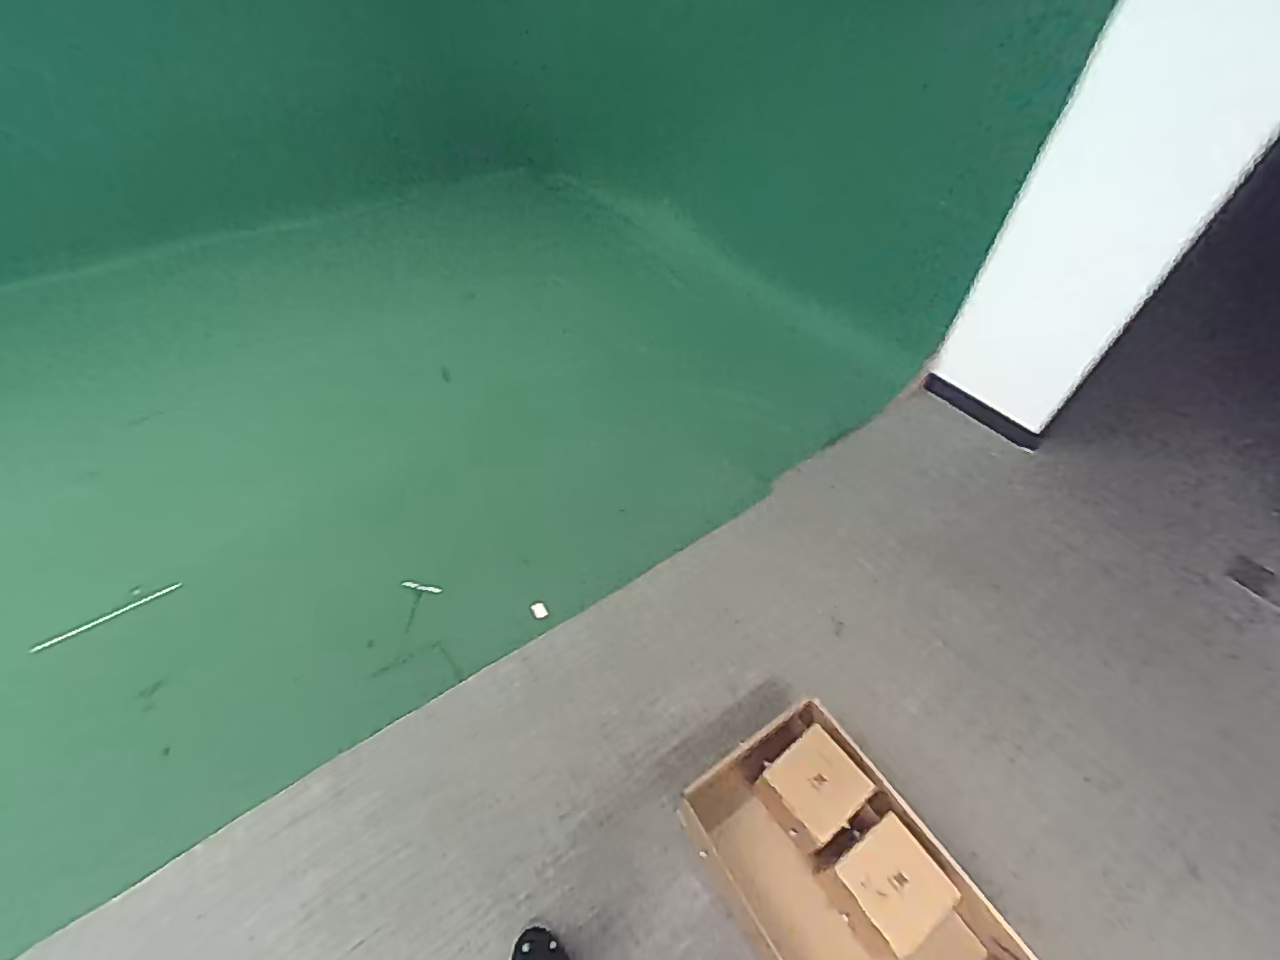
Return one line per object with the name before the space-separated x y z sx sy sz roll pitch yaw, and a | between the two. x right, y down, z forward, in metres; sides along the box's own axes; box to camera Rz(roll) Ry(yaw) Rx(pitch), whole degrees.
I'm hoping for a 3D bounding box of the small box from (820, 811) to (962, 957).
small box | 0.493 0.810 1.090 0.179 0.176 0.168 -27 54 -19
